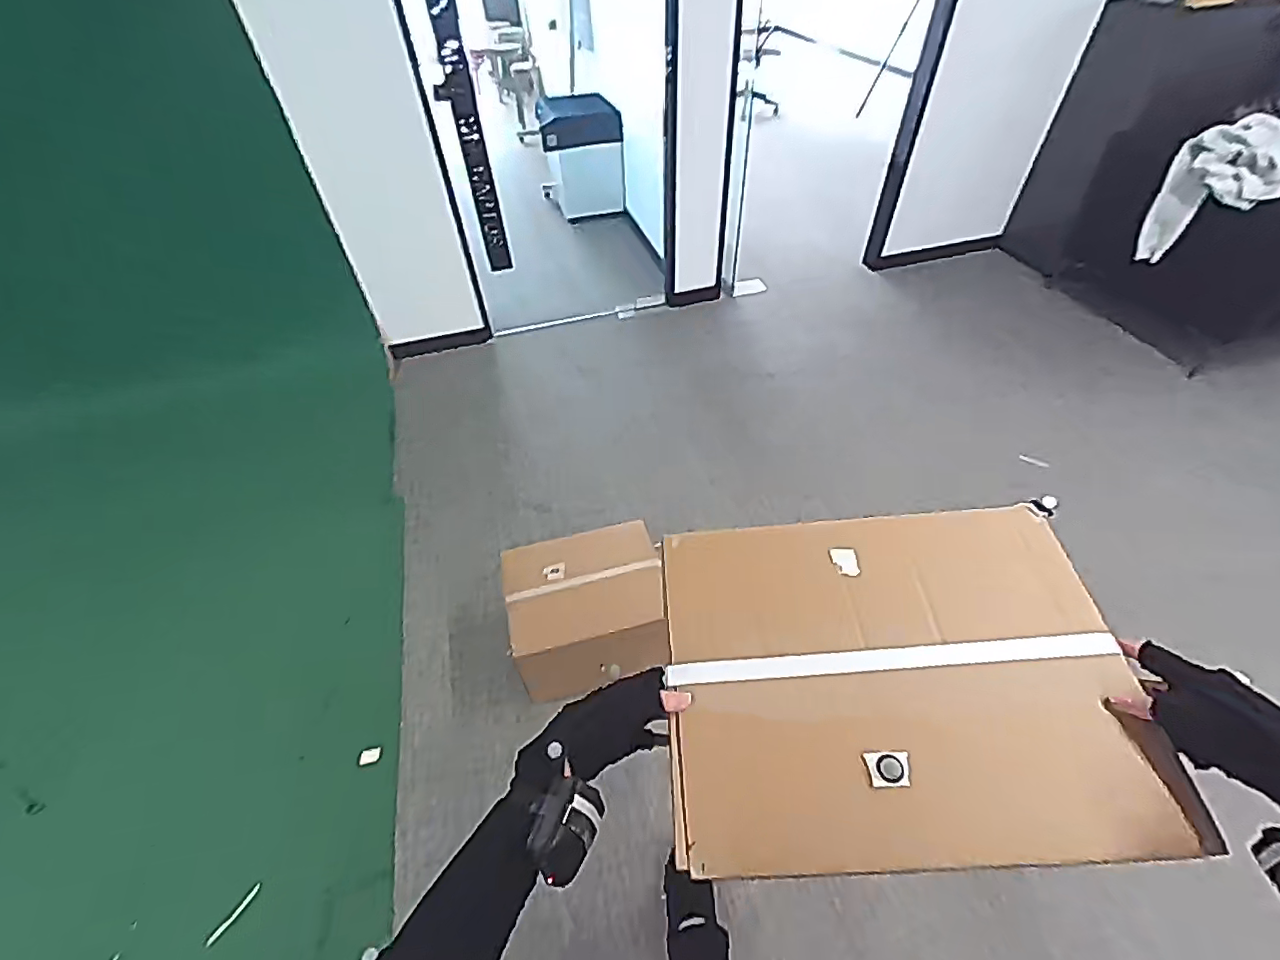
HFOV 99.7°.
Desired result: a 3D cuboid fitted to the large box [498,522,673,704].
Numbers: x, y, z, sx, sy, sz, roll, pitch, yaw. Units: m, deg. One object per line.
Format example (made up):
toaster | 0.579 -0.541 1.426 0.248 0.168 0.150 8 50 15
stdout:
large box | -0.145 0.368 1.498 0.408 0.320 0.320 -13 48 -9
